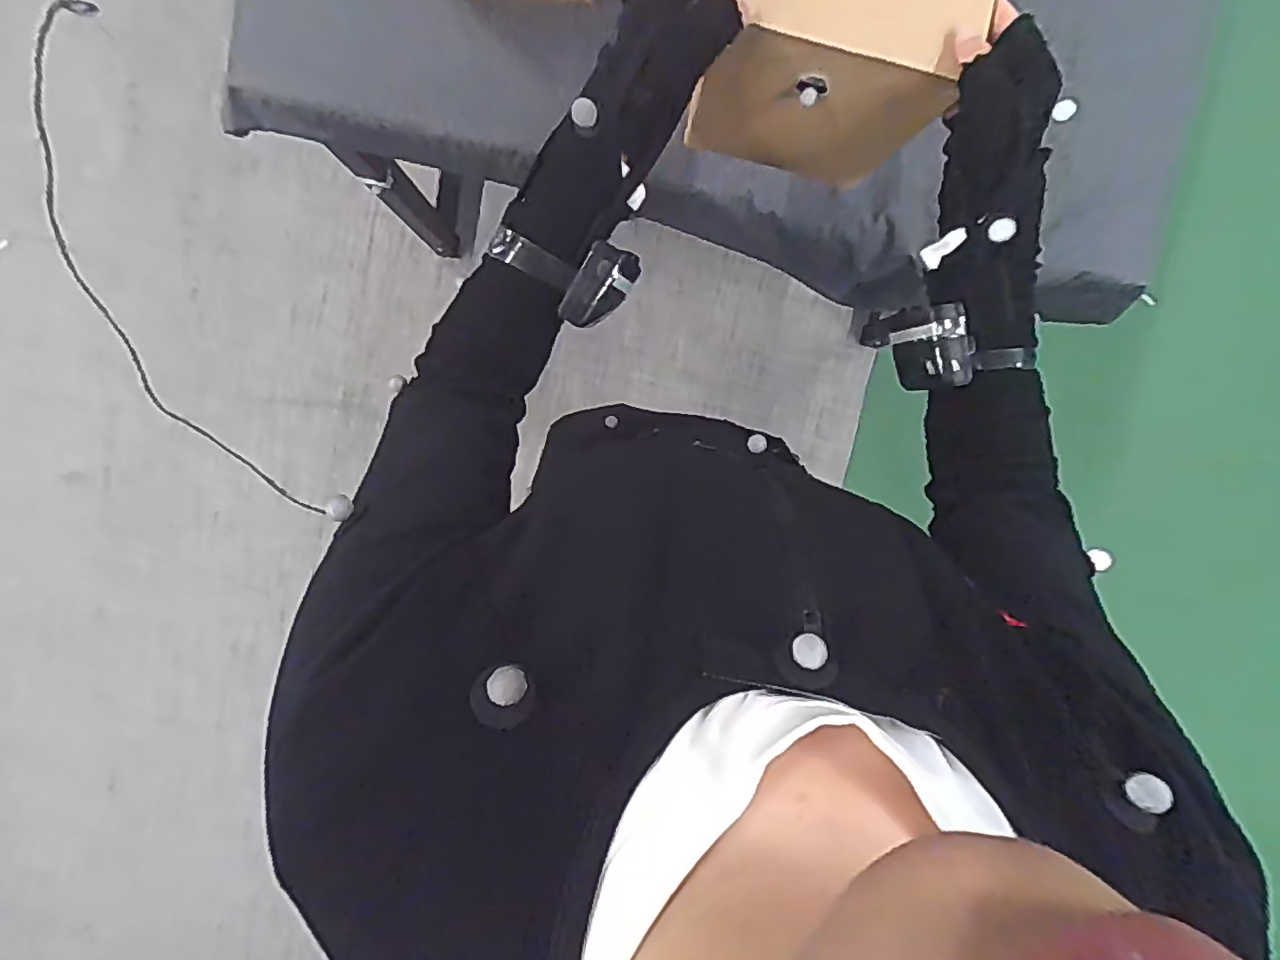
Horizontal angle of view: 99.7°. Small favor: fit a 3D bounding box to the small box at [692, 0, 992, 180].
[{"bbox_3d":[0.148,-0.368,0.427,0.179,0.176,0.168,10,97,-6],"label":"small box"}]
